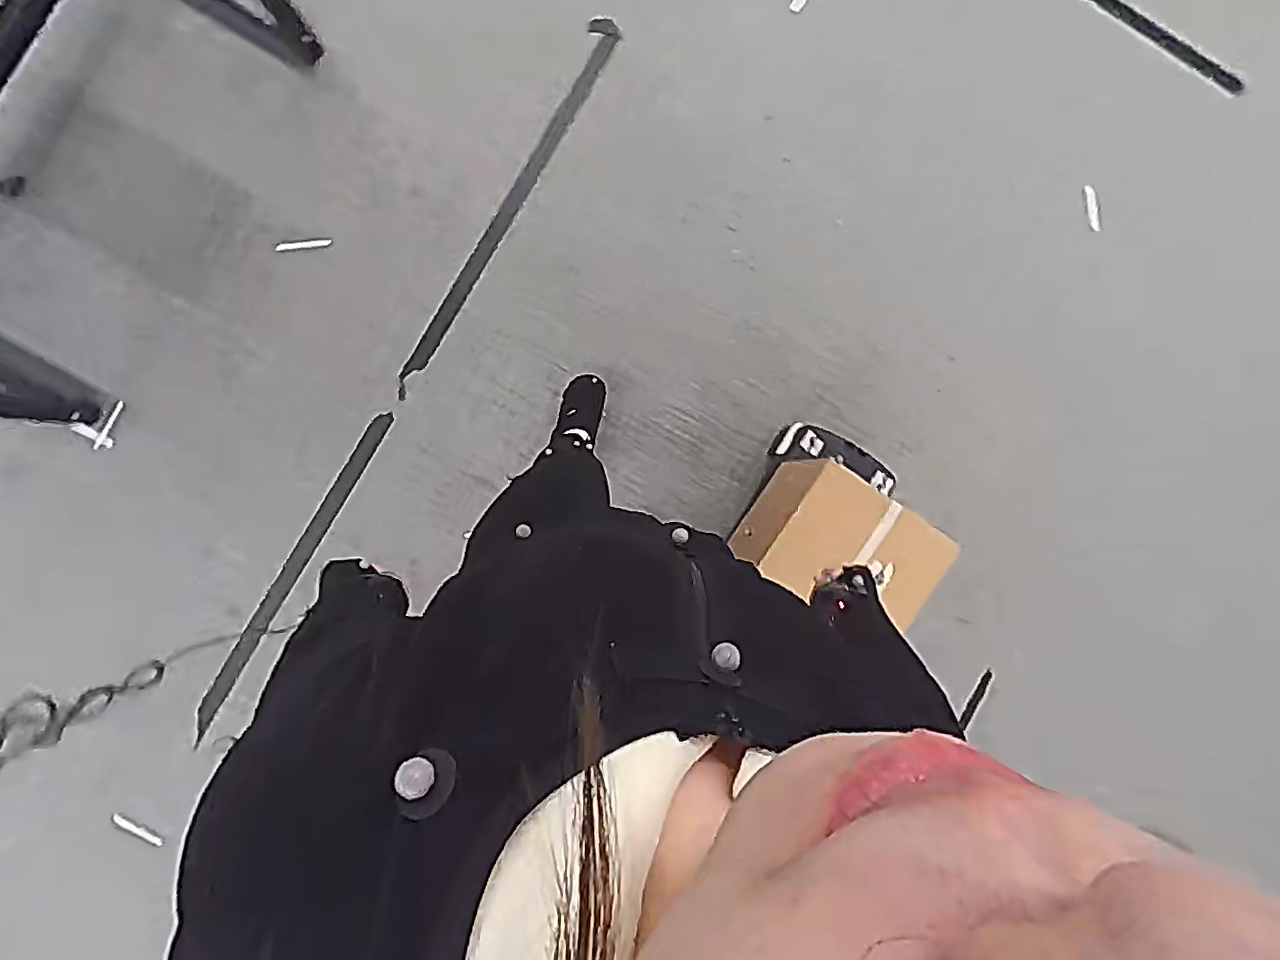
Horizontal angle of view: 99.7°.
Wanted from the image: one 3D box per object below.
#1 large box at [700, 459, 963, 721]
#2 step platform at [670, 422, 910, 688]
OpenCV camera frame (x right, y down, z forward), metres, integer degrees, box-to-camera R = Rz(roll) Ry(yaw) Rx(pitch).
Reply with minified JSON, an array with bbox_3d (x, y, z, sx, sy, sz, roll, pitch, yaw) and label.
[{"bbox_3d":[0.376,0.211,1.166,0.320,0.320,0.408,34,88,-3],"label":"large box"},{"bbox_3d":[0.378,0.185,1.405,0.286,0.204,0.684,36,88,-2],"label":"step platform"}]
